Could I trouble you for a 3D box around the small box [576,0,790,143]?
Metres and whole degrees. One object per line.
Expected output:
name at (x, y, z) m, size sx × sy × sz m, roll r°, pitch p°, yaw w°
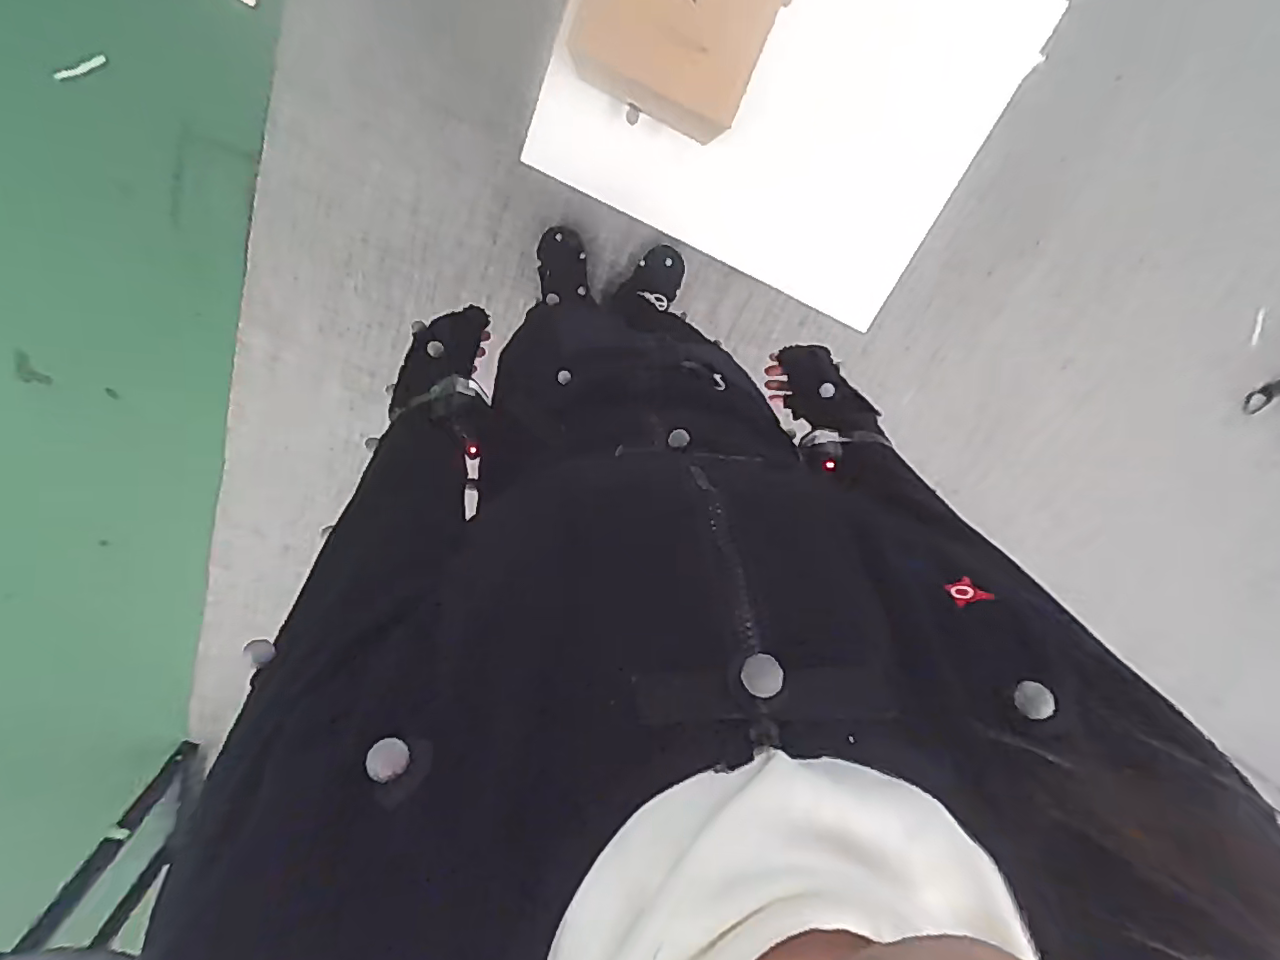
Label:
small box at (0.046, -0.465, 0.535) m, size 0.168 × 0.176 × 0.179 m, roll 20°, pitch 116°, yaw -9°
